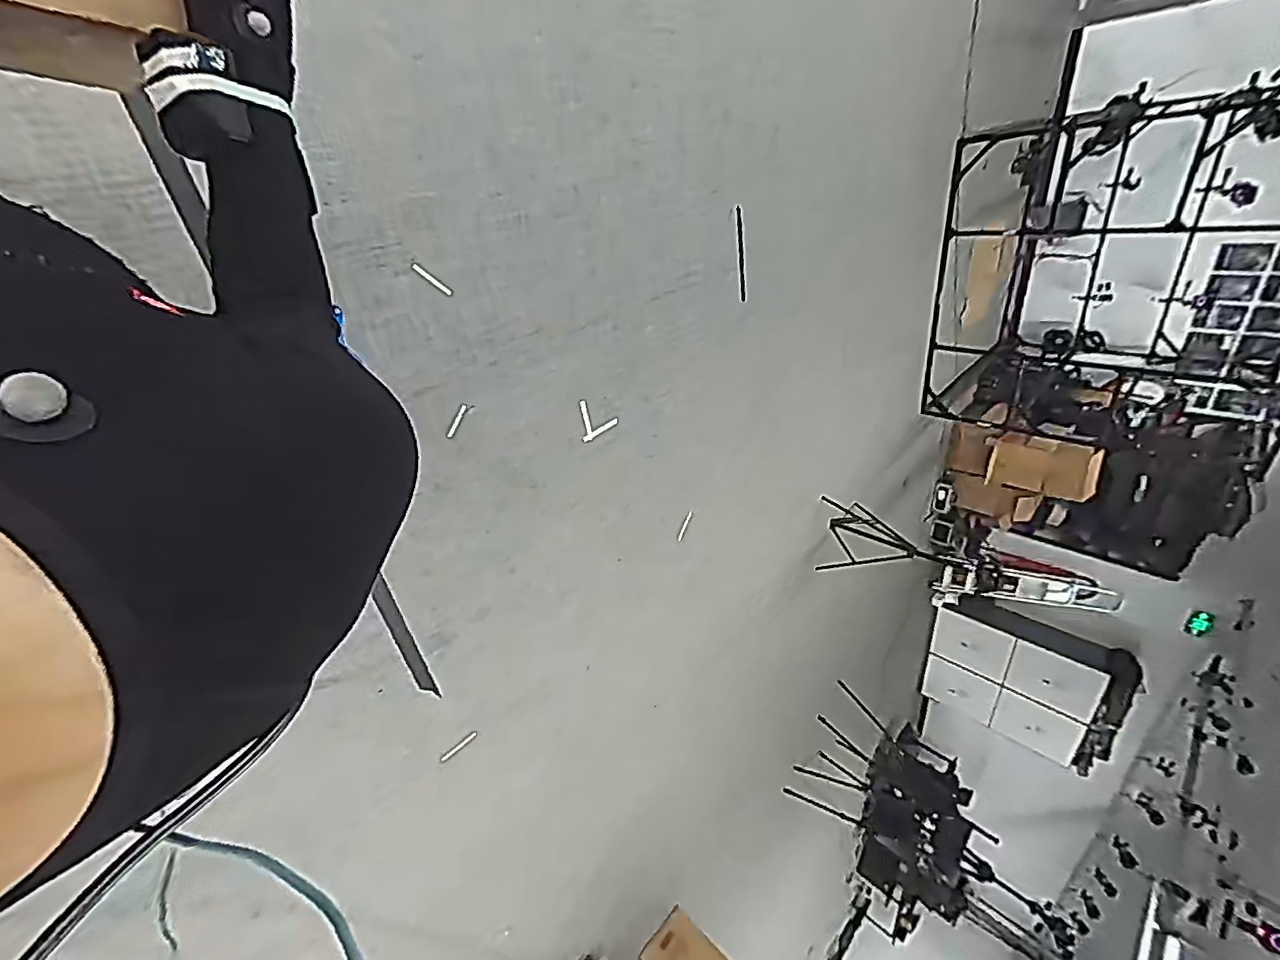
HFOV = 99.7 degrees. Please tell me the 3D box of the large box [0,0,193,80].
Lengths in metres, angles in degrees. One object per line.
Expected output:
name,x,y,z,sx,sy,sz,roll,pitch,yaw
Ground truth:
large box,-0.555,-0.459,0.281,0.408,0.320,0.320,-21,124,-45
